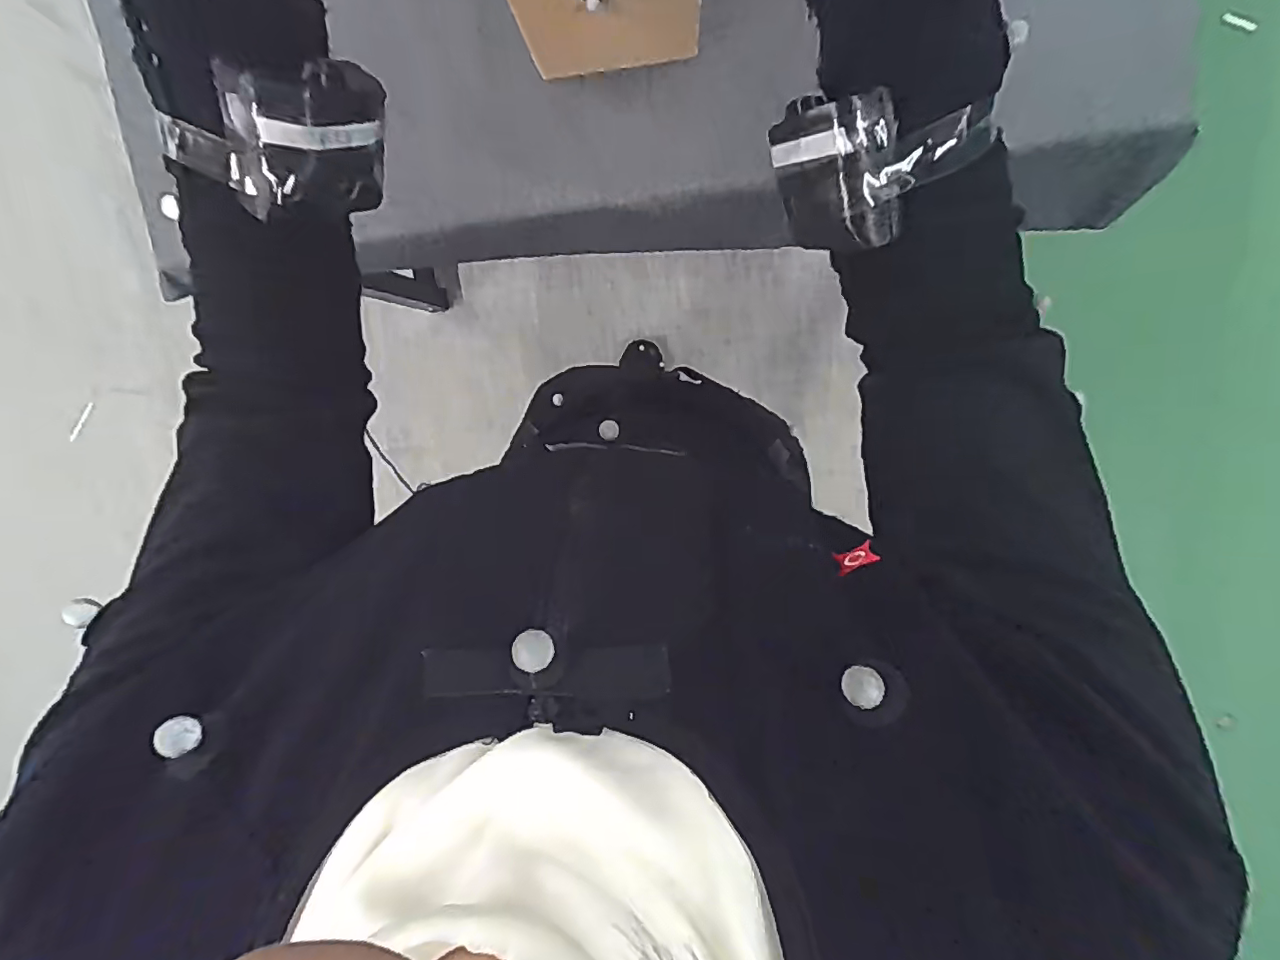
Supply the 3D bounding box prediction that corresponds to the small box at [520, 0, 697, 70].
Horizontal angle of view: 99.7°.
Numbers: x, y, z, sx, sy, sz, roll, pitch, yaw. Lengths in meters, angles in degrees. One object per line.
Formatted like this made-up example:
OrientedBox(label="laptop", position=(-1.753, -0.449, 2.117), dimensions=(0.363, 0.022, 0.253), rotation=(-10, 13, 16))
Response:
OrientedBox(label="small box", position=(-0.036, -0.530, 0.515), dimensions=(0.179, 0.176, 0.168), rotation=(-5, 100, 4))
